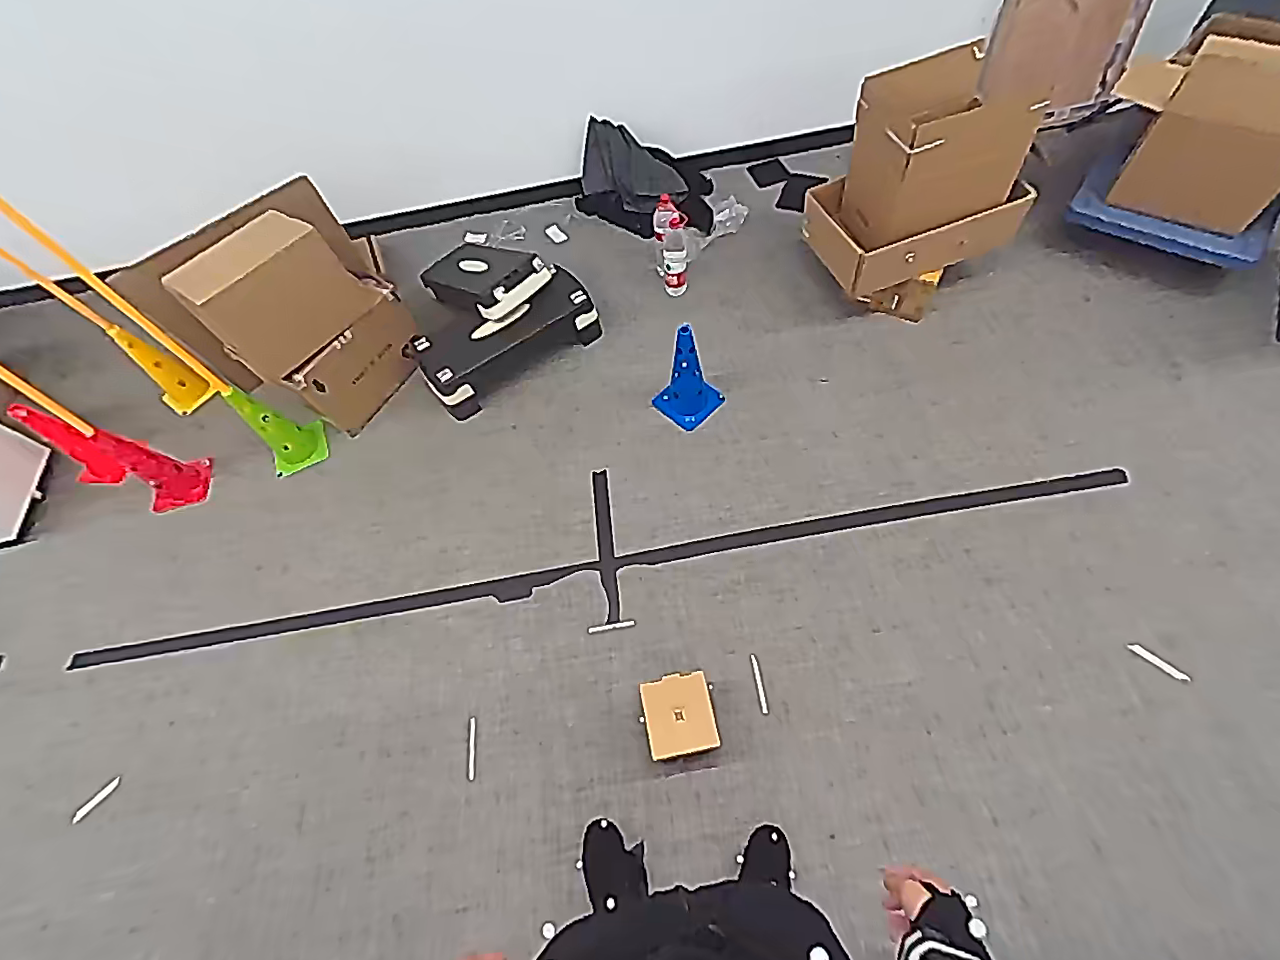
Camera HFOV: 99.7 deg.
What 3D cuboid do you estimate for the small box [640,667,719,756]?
[{"bbox_3d":[0.102,0.592,1.376,0.168,0.176,0.179,-12,61,0],"label":"small box"}]
